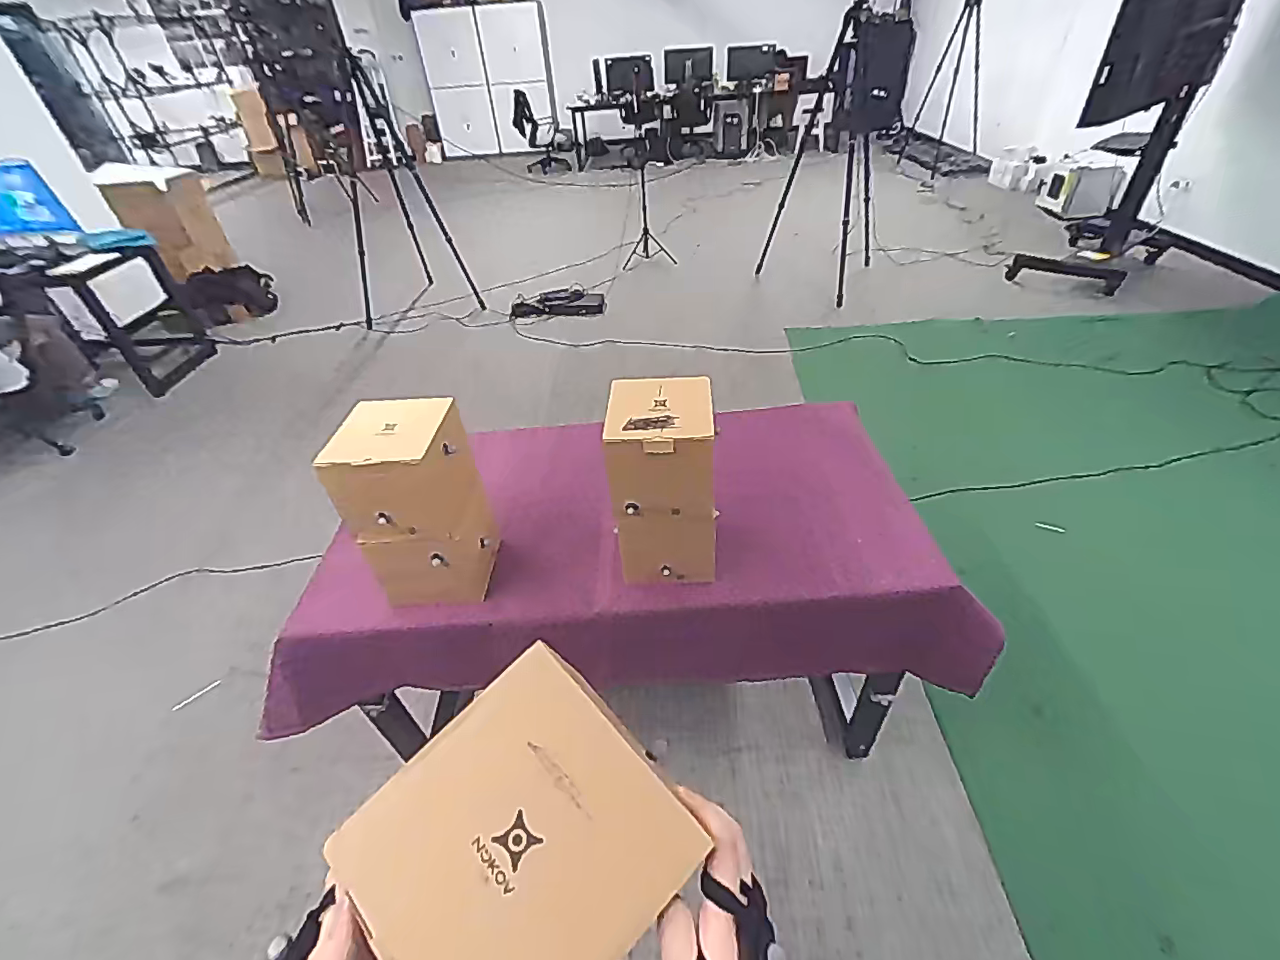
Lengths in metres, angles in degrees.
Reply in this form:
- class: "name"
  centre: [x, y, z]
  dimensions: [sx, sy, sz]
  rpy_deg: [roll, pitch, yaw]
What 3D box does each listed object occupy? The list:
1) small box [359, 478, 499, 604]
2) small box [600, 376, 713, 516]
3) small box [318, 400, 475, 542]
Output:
- class: "small box"
  centre: [-0.374, 0.114, 1.003]
  dimensions: [0.179, 0.176, 0.168]
  rpy_deg: [-3, 39, 3]
- class: "small box"
  centre: [0.035, -0.053, 0.896]
  dimensions: [0.168, 0.176, 0.179]
  rpy_deg: [-2, 40, 5]
- class: "small box"
  centre: [-0.389, -0.016, 0.906]
  dimensions: [0.168, 0.176, 0.179]
  rpy_deg: [-3, 41, 3]
